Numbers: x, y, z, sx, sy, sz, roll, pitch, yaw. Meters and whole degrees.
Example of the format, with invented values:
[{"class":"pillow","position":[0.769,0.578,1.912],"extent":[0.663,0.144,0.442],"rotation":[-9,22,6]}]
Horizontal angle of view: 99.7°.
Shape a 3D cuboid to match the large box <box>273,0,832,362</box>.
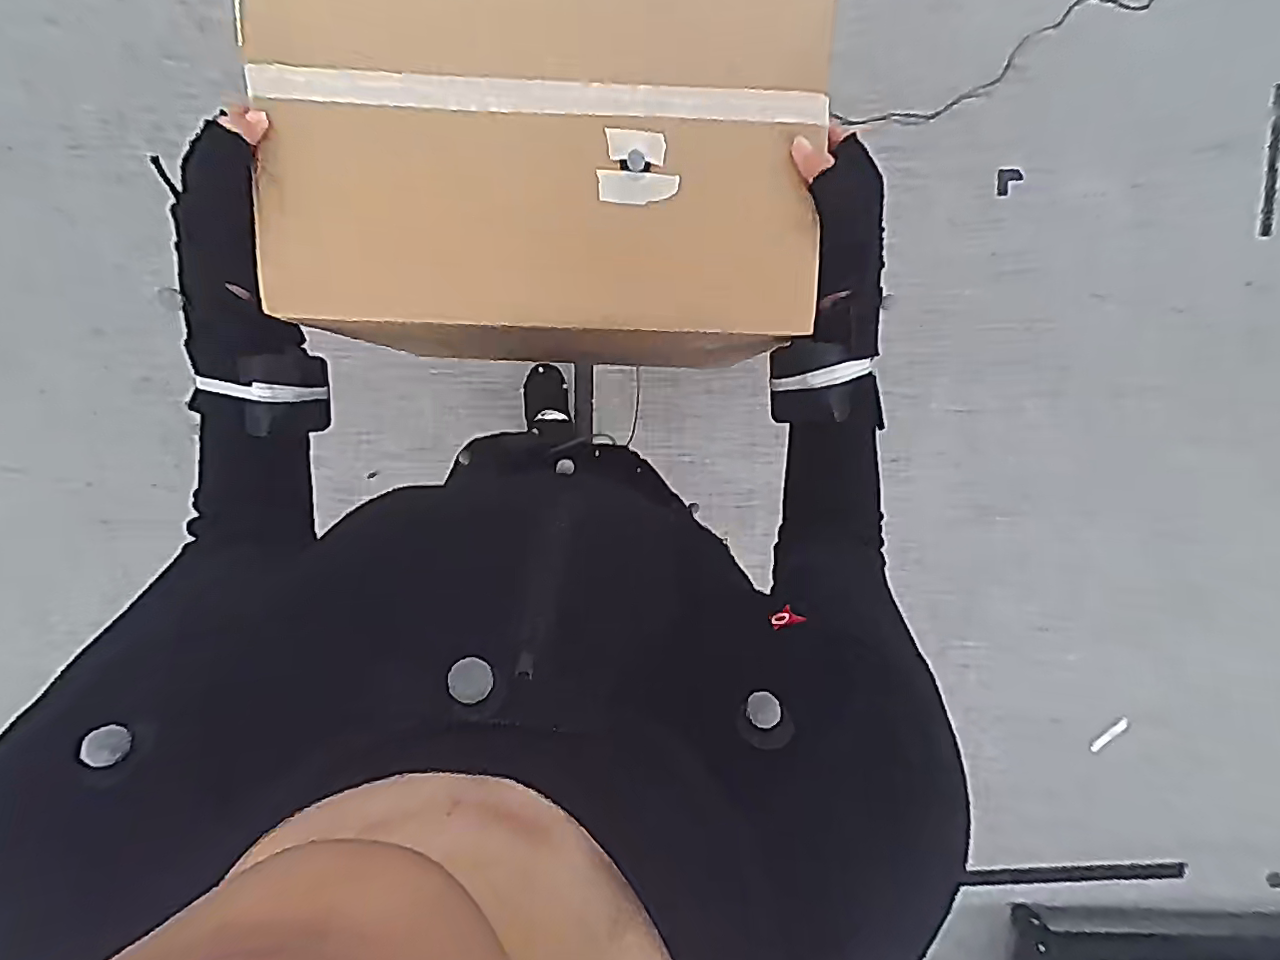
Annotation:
[{"class":"large box","position":[-0.069,-0.290,0.540],"extent":[0.408,0.320,0.320],"rotation":[1,98,-3]}]
